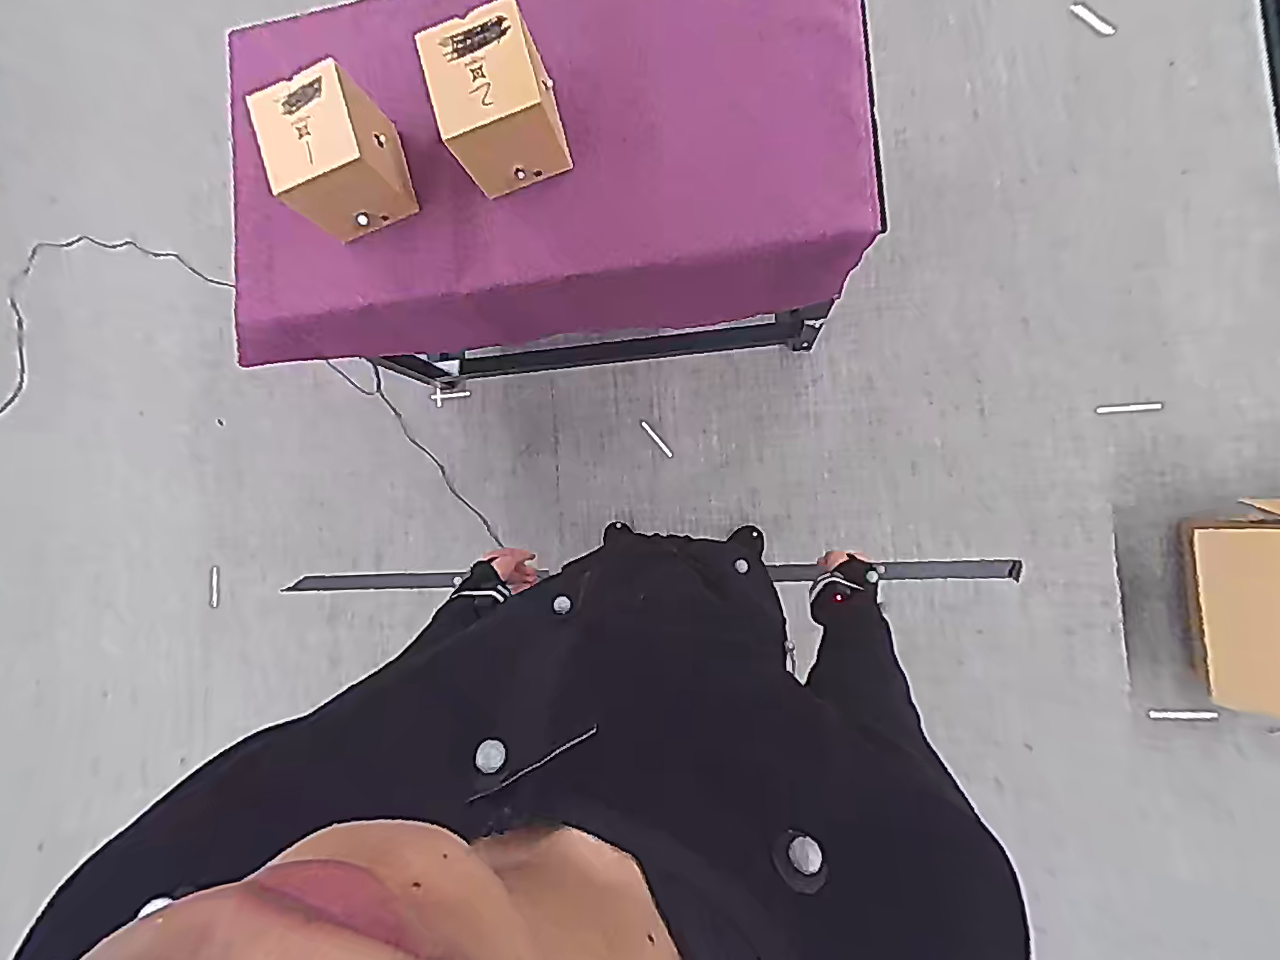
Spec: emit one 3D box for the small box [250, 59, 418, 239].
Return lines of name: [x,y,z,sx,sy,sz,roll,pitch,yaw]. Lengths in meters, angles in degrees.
small box: [-0.518,-0.558,0.935,0.168,0.176,0.179,-18,86,9]
